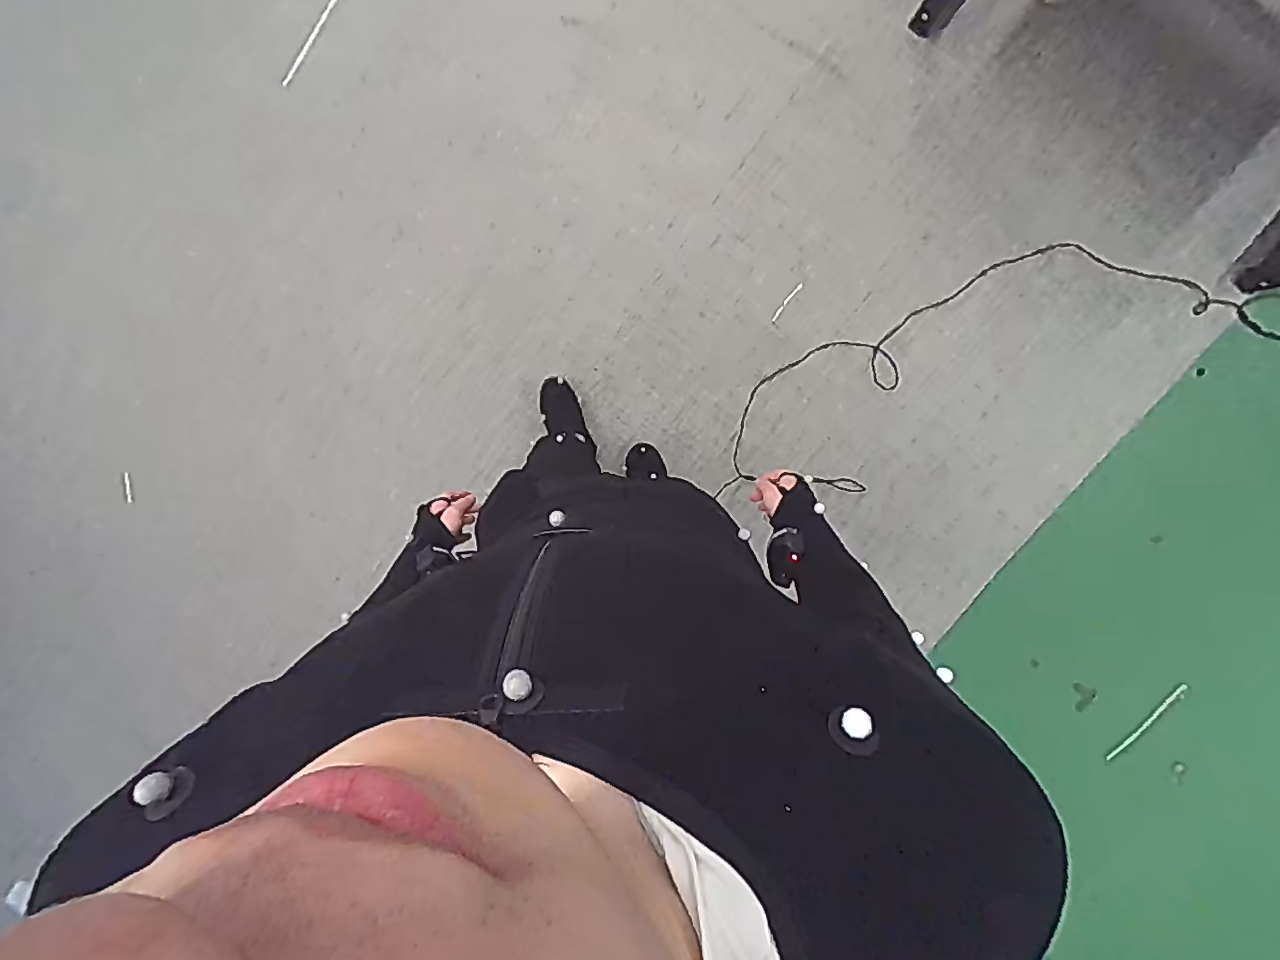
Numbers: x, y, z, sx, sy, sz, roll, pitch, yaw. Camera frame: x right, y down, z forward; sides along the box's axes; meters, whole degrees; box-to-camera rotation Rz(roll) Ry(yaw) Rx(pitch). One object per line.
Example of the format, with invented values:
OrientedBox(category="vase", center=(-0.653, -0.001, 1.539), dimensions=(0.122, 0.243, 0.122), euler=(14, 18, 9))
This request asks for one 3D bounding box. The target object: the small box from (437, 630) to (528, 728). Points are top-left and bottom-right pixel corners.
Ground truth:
OrientedBox(category="small box", center=(-0.457, 0.583, 1.602), dimensions=(0.168, 0.176, 0.179), euler=(36, 96, -2))
